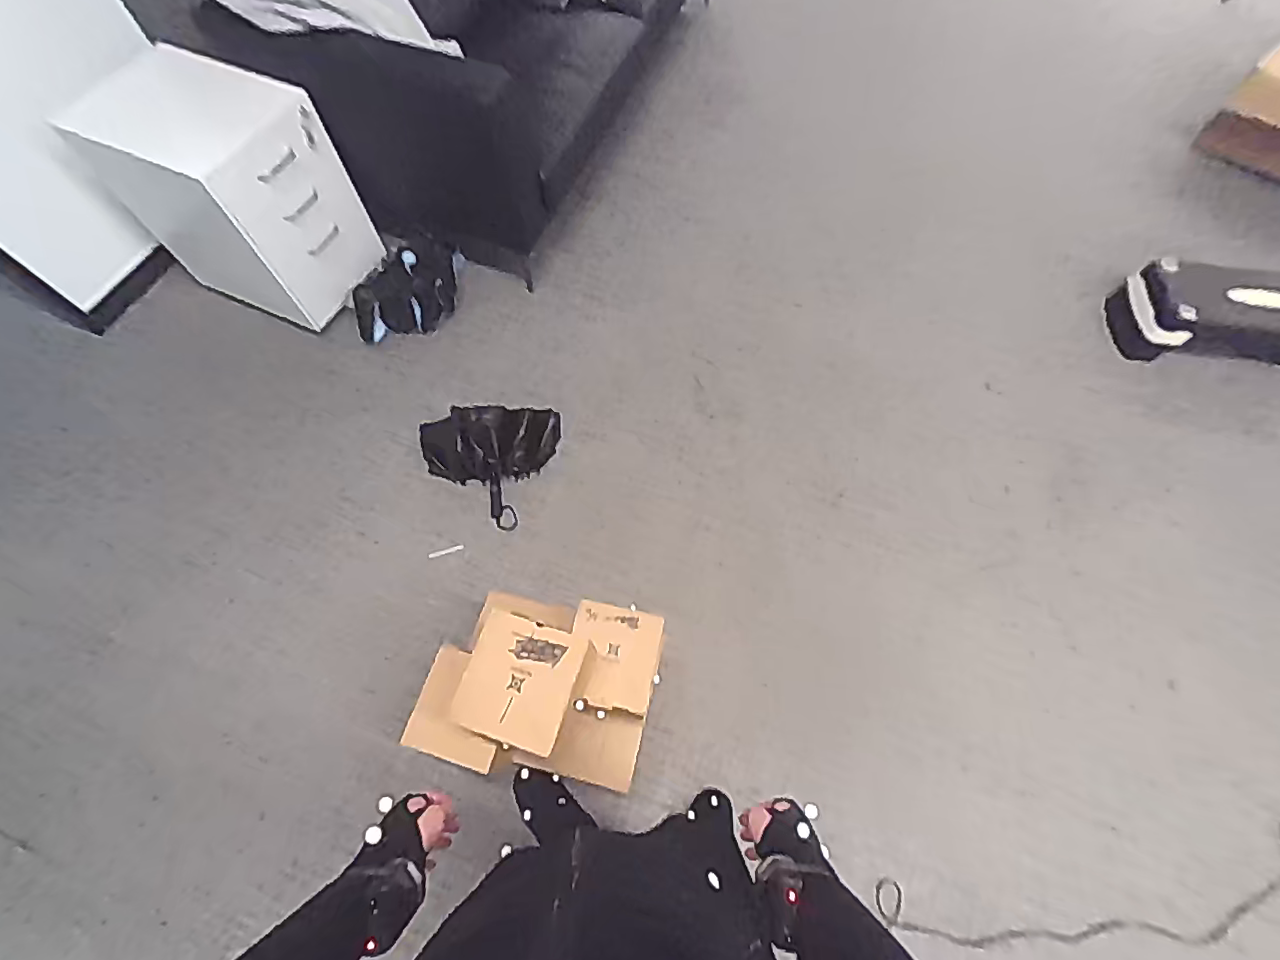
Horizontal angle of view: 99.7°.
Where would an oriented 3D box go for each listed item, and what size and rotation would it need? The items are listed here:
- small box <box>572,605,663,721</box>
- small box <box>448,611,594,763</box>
[{"bbox_3d":[-0.052,0.361,1.052,0.168,0.176,0.179,11,65,5],"label":"small box"},{"bbox_3d":[-0.179,0.336,0.881,0.168,0.176,0.179,16,68,8],"label":"small box"}]
